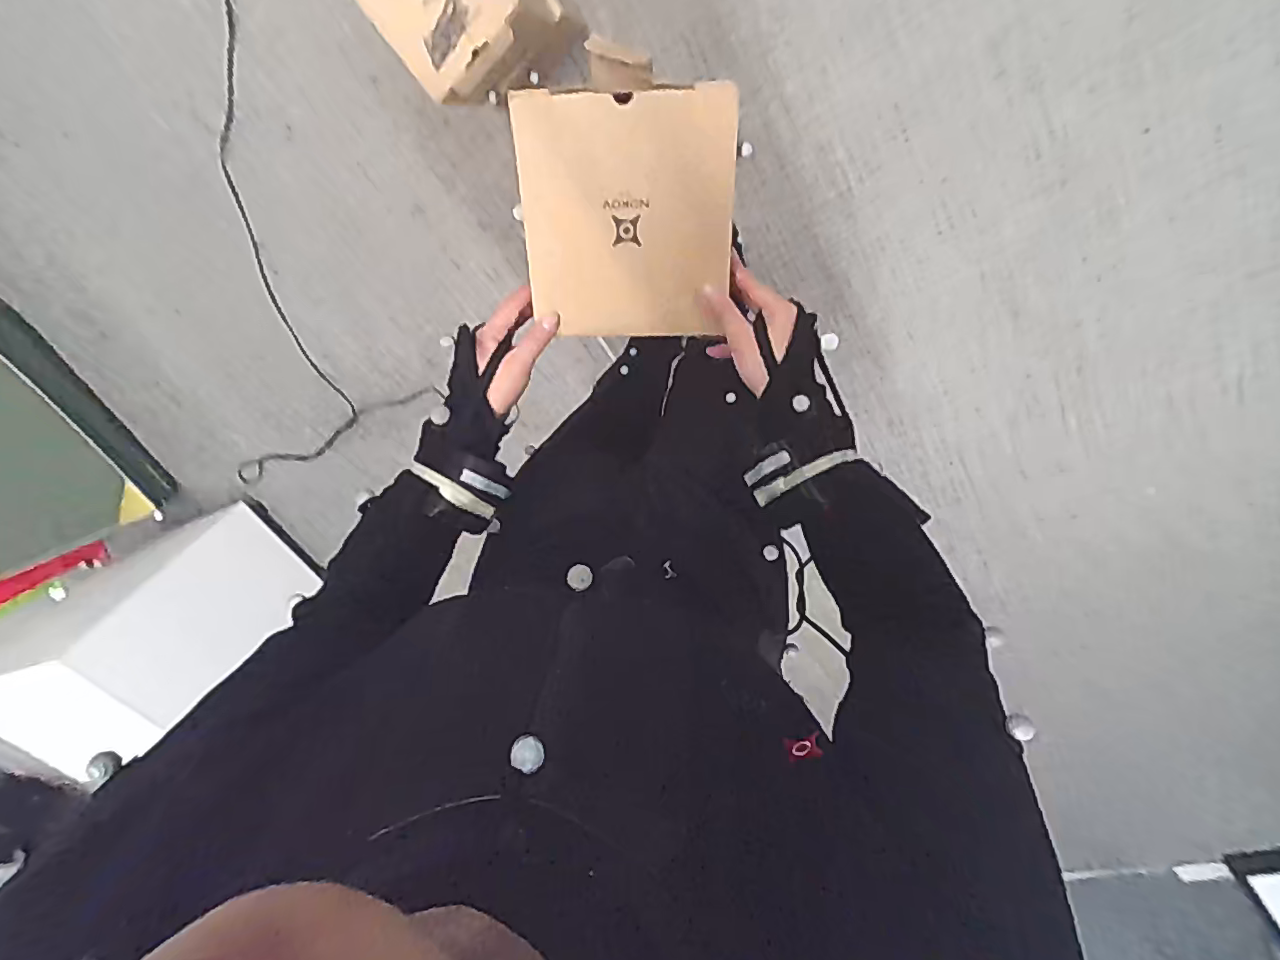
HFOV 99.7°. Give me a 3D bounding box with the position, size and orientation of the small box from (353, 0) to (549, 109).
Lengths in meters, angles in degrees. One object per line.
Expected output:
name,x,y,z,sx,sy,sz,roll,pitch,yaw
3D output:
small box,-0.247,-0.634,0.717,0.168,0.176,0.179,-30,114,24

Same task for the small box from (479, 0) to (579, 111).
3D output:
small box,-0.219,-0.721,0.855,0.179,0.176,0.168,-35,112,27

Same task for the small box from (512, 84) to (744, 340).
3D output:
small box,-0.003,-0.234,0.483,0.168,0.176,0.179,2,118,4
